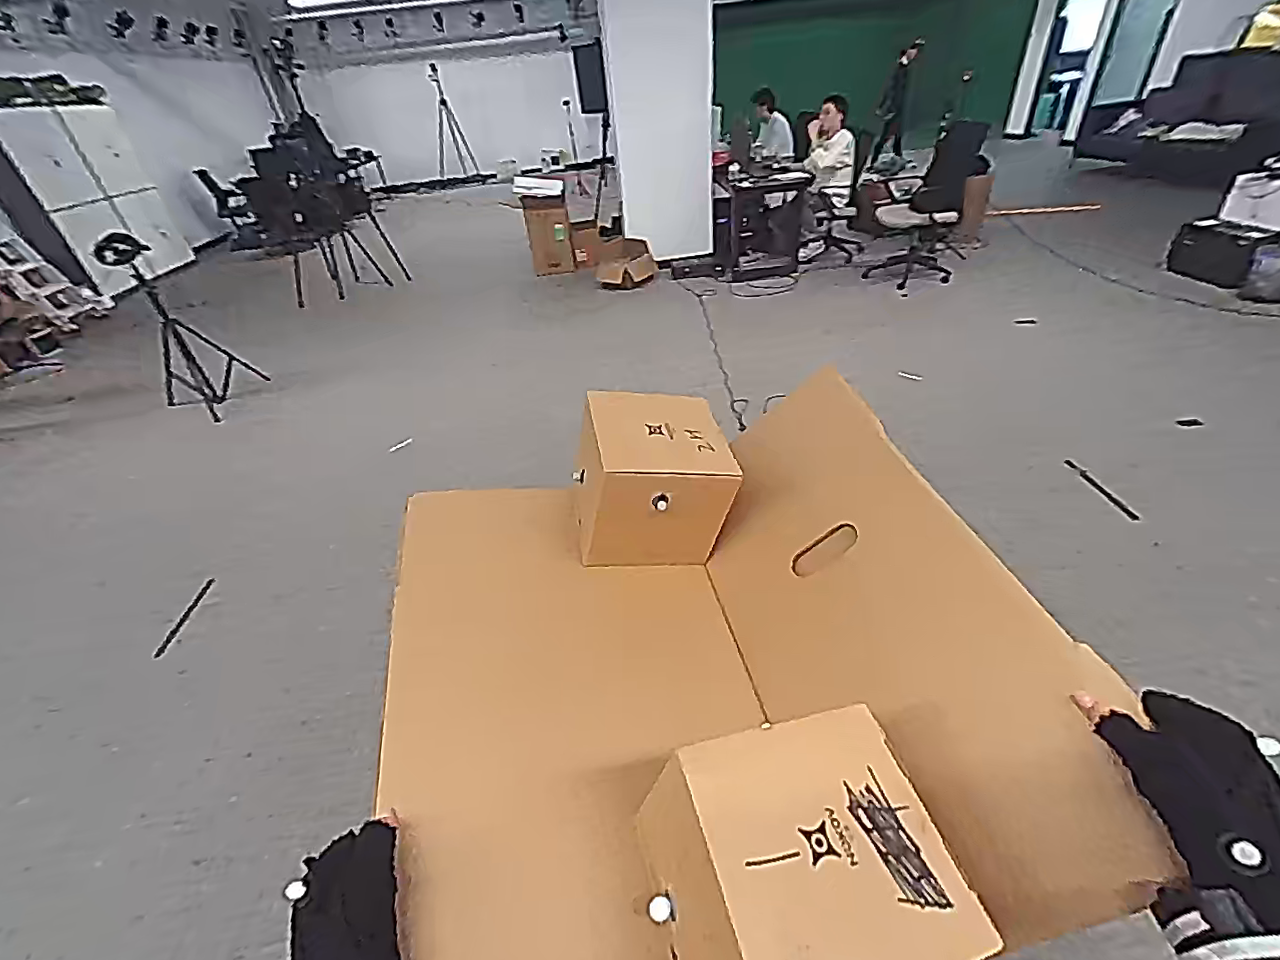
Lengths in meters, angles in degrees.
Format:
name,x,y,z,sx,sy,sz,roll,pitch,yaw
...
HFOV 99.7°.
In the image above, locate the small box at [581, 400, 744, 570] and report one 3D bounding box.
name,x,y,z,sx,sy,sz,roll,pitch,yaw
small box,0.016,0.009,0.738,0.179,0.176,0.168,2,42,-16
